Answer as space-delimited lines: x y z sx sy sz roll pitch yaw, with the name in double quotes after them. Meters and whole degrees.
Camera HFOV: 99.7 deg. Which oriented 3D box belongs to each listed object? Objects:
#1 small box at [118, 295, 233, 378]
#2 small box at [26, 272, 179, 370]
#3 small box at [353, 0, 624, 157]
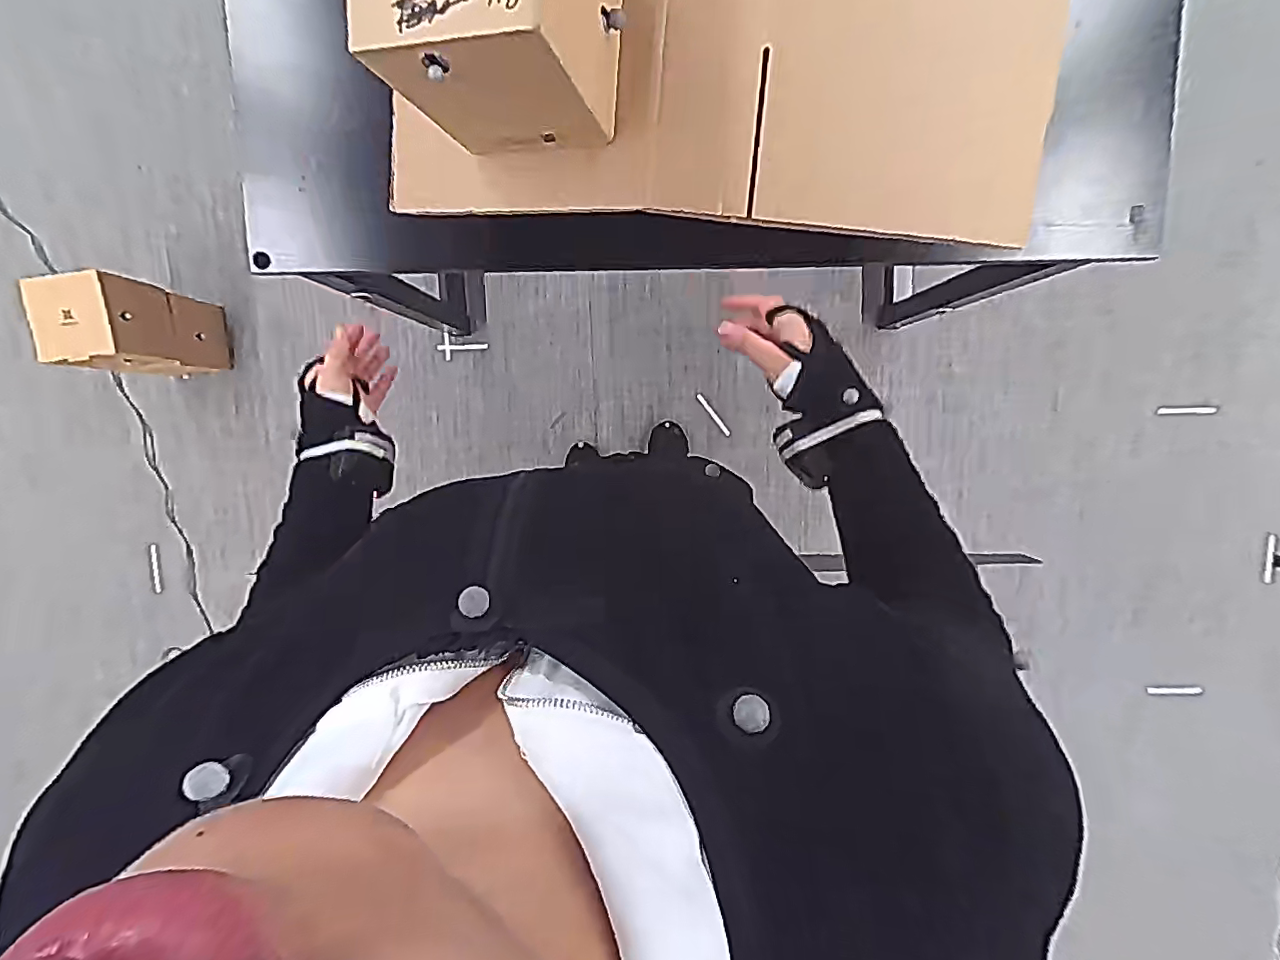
-1.185 -0.358 1.374 0.168 0.176 0.179 -4 97 1 "small box"
-1.188 -0.346 1.212 0.168 0.176 0.179 -8 95 0 "small box"
-0.118 -0.417 0.473 0.168 0.176 0.179 6 96 16 "small box"
